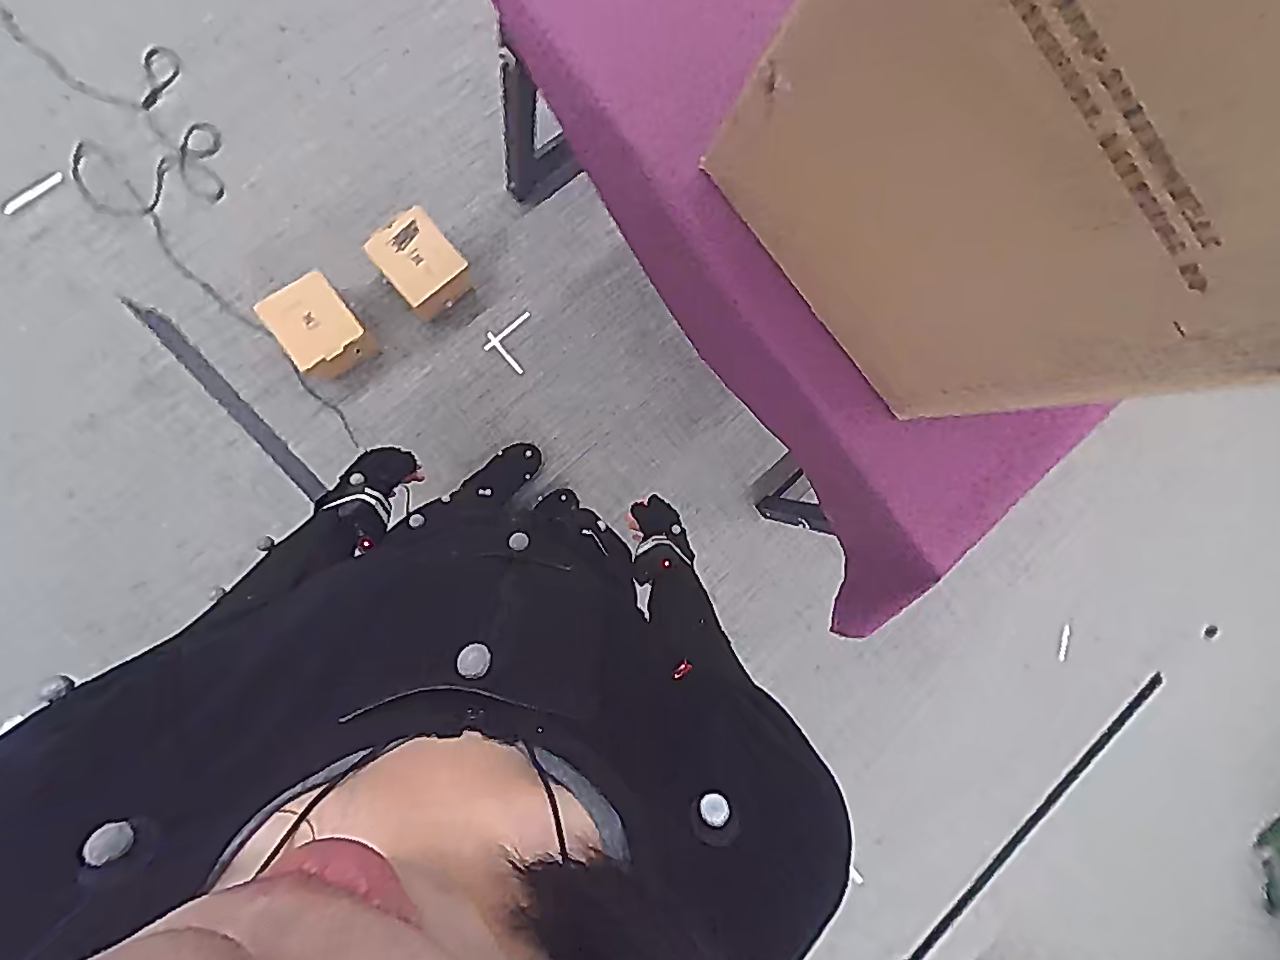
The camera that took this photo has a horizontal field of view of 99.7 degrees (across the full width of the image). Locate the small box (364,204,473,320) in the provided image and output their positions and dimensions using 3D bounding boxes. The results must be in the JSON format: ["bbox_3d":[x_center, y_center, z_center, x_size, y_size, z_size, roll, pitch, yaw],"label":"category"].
[{"bbox_3d":[-0.534,-0.525,1.329,0.168,0.176,0.179,-42,100,-8],"label":"small box"}]

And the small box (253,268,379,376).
[{"bbox_3d":[-0.757,-0.364,1.289,0.168,0.176,0.179,-36,98,-10],"label":"small box"}]
